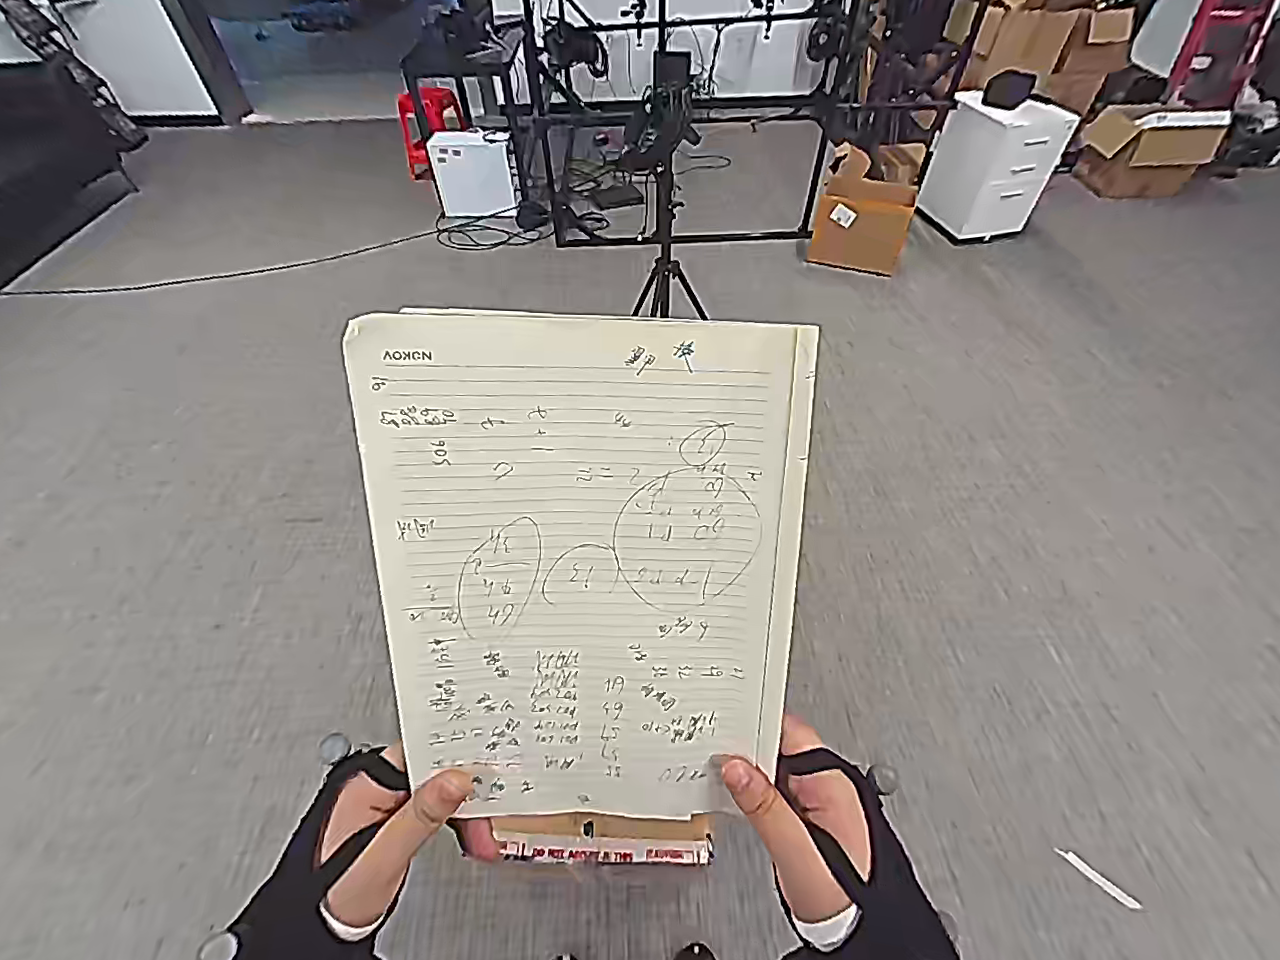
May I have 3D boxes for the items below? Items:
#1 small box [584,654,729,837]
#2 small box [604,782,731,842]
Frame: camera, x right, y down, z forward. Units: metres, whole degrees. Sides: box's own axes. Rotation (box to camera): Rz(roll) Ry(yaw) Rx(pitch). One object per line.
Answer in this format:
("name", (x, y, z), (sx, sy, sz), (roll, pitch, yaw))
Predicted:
("small box", (0.021, 0.351, 0.713), (0.168, 0.176, 0.179), (4, 51, 1))
("small box", (0.036, 0.455, 0.841), (0.179, 0.176, 0.168), (1, 50, -1))
